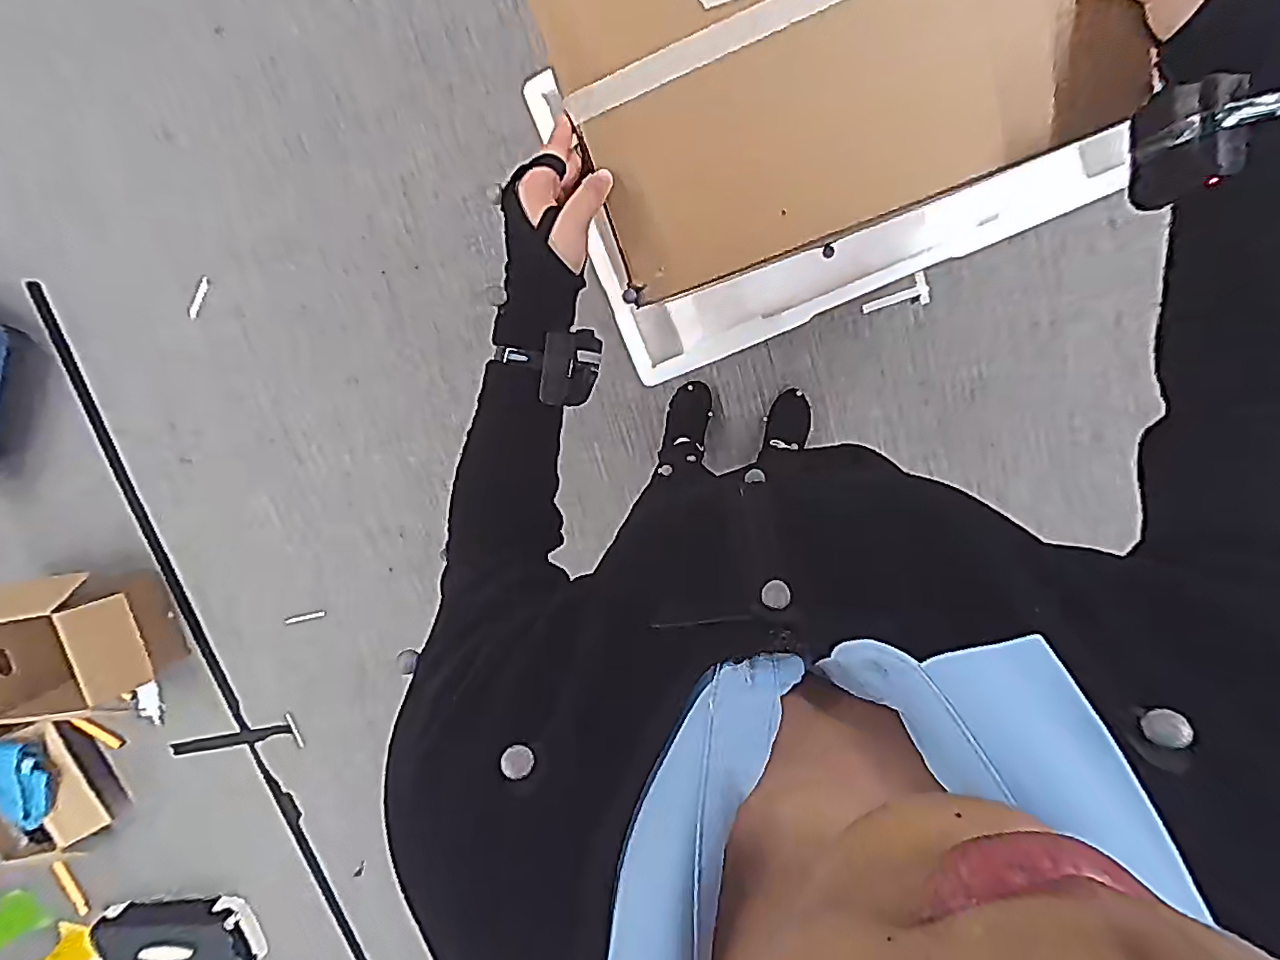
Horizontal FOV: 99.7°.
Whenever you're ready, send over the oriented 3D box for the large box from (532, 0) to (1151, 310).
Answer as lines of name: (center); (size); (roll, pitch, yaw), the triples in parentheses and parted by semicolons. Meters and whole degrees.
large box: (0.150, -0.392, 0.533); (0.408, 0.320, 0.320); (-18, 104, 11)
